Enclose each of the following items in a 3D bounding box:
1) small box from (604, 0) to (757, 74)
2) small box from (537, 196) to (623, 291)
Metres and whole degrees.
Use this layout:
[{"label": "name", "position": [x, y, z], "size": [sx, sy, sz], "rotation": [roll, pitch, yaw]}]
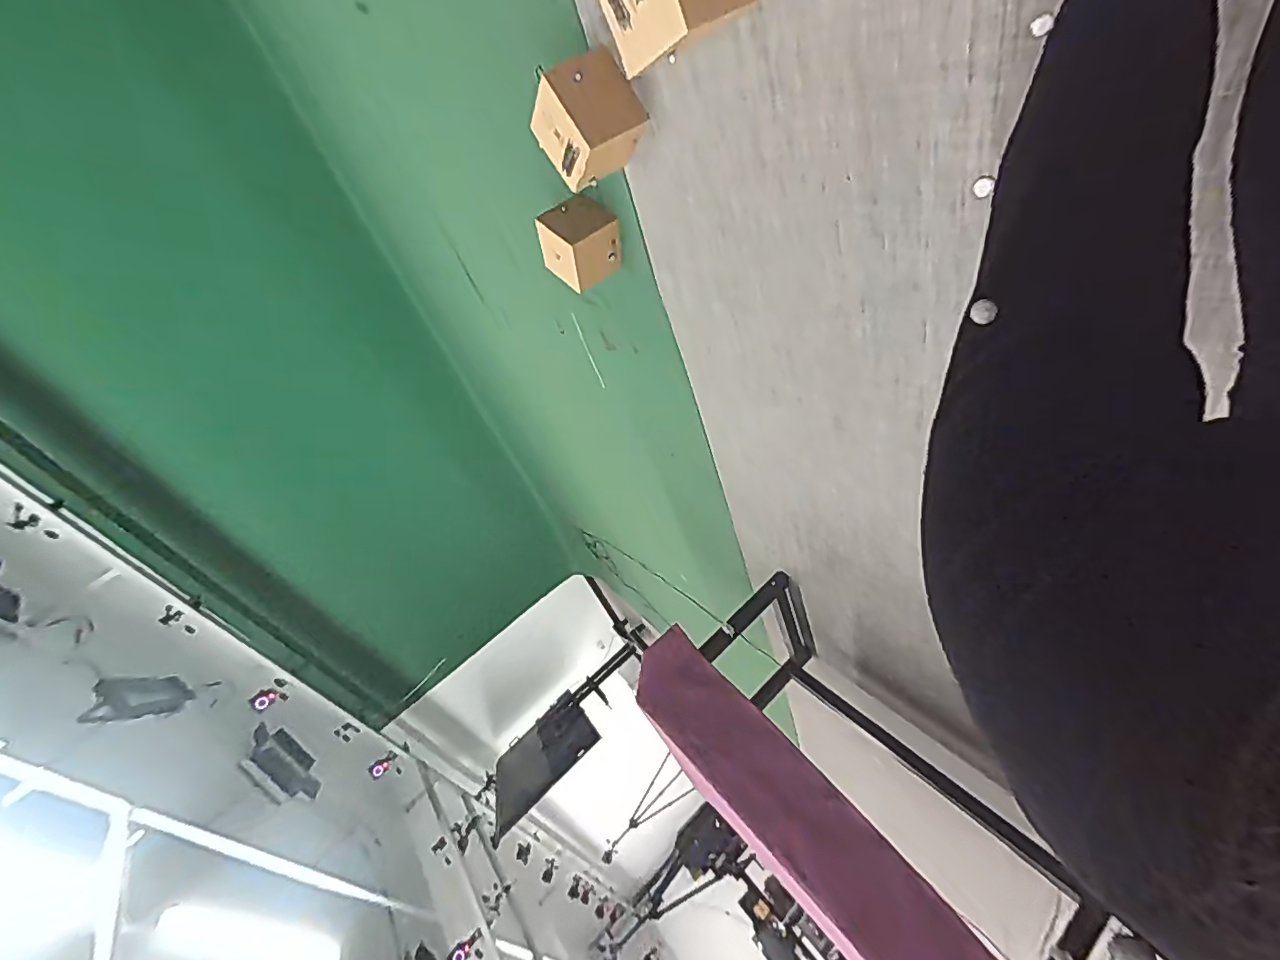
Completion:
[{"label": "small box", "position": [0.058, -0.781, 0.839], "size": [0.179, 0.176, 0.168], "rotation": [22, 146, 55]}, {"label": "small box", "position": [-0.168, -0.690, 1.567], "size": [0.179, 0.176, 0.168], "rotation": [44, 161, 23]}]
